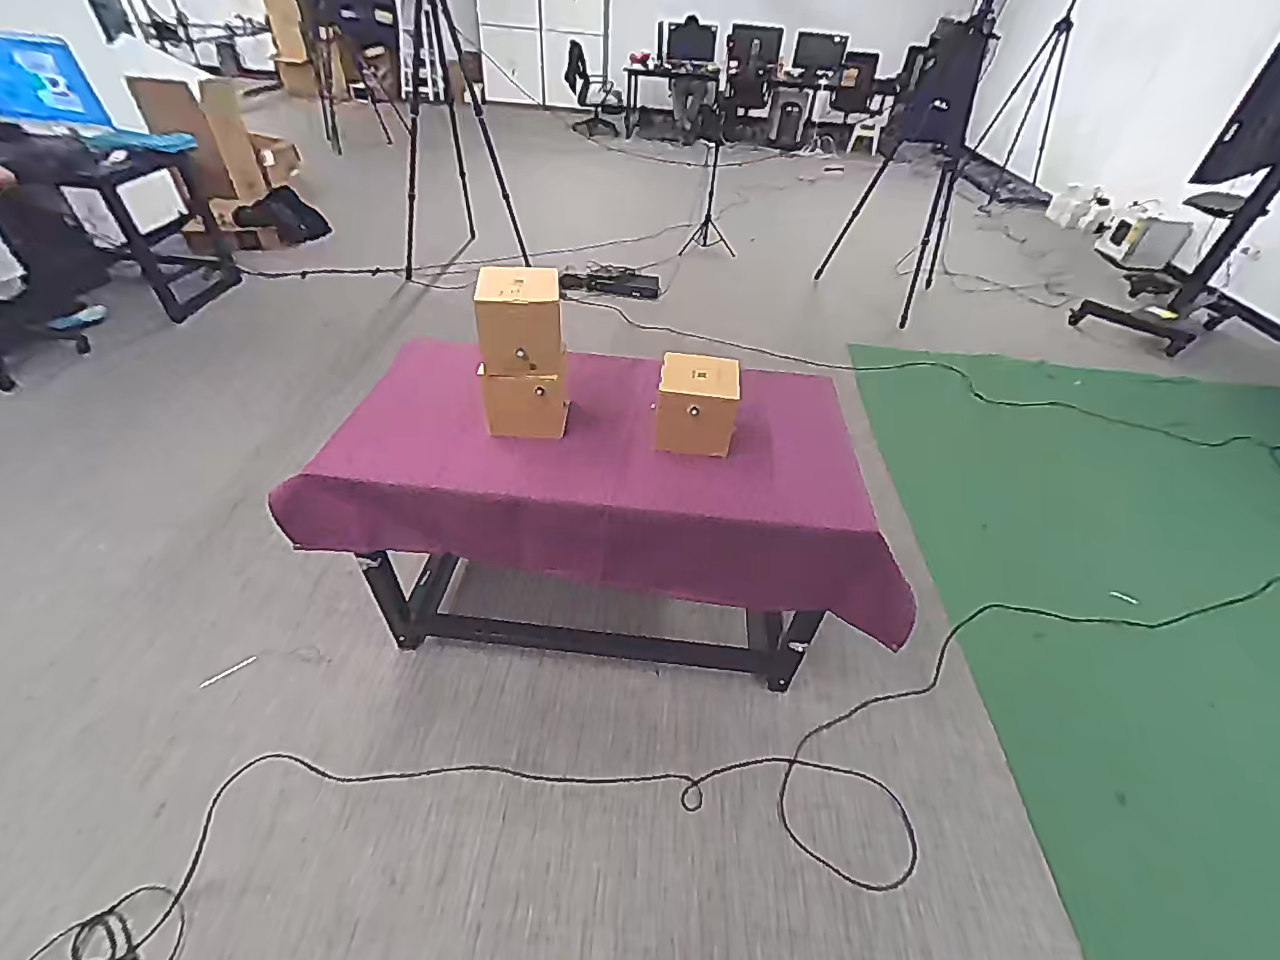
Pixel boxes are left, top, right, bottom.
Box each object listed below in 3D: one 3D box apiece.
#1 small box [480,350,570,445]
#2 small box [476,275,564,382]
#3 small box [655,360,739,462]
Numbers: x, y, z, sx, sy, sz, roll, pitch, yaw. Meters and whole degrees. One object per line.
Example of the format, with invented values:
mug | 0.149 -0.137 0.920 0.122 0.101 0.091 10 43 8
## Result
small box | -0.263 -0.198 1.276 0.179 0.176 0.168 4 42 -2
small box | -0.254 -0.328 1.174 0.168 0.176 0.179 -3 42 -7
small box | 0.131 -0.159 1.262 0.179 0.176 0.168 8 43 3
